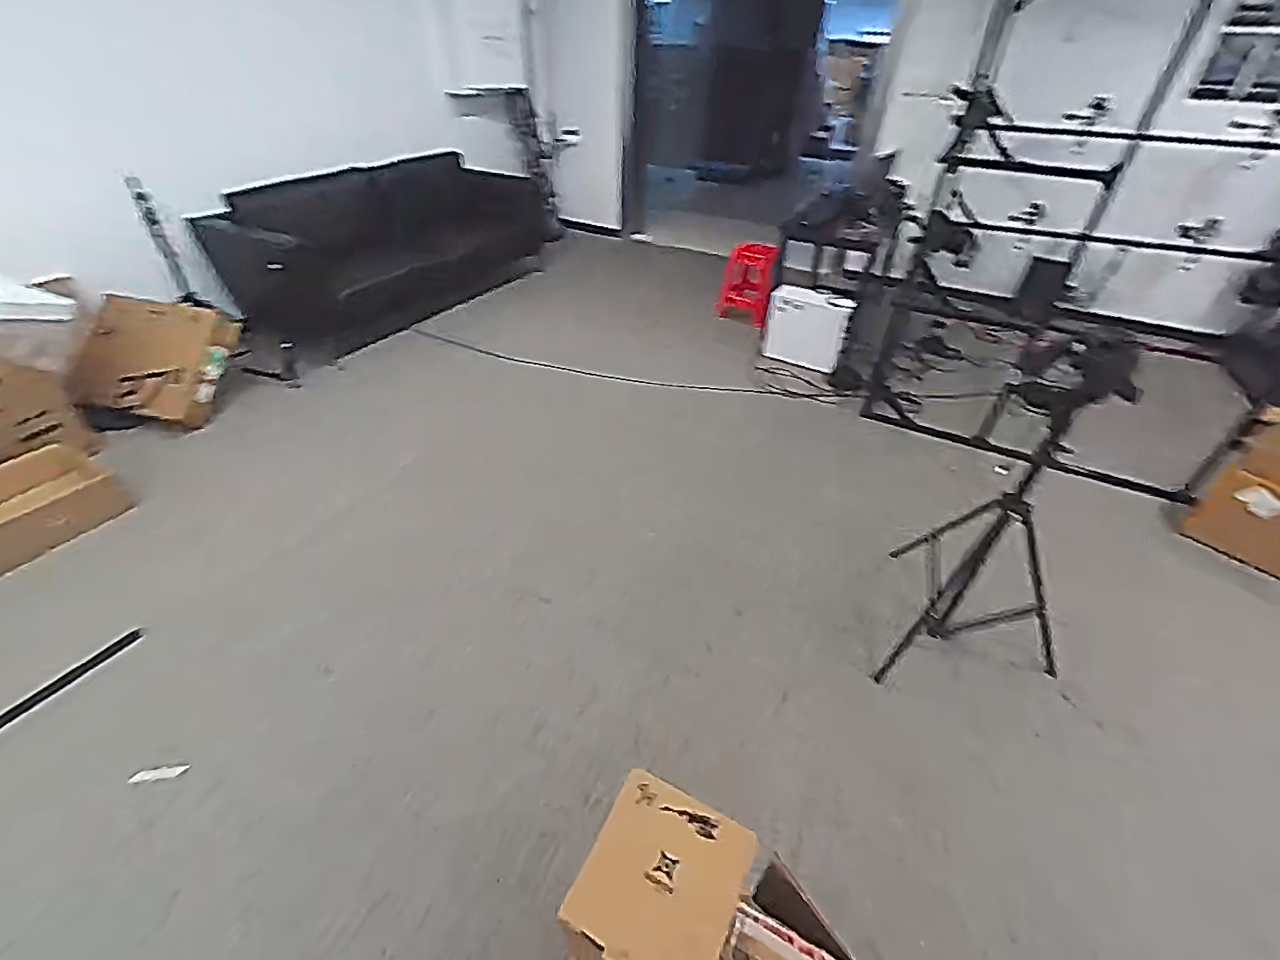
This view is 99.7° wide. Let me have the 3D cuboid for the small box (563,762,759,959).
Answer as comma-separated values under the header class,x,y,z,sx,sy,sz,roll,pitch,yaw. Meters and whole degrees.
class,x,y,z,sx,sy,sz,roll,pitch,yaw
small box,0.031,0.491,0.651,0.168,0.176,0.179,18,44,22
